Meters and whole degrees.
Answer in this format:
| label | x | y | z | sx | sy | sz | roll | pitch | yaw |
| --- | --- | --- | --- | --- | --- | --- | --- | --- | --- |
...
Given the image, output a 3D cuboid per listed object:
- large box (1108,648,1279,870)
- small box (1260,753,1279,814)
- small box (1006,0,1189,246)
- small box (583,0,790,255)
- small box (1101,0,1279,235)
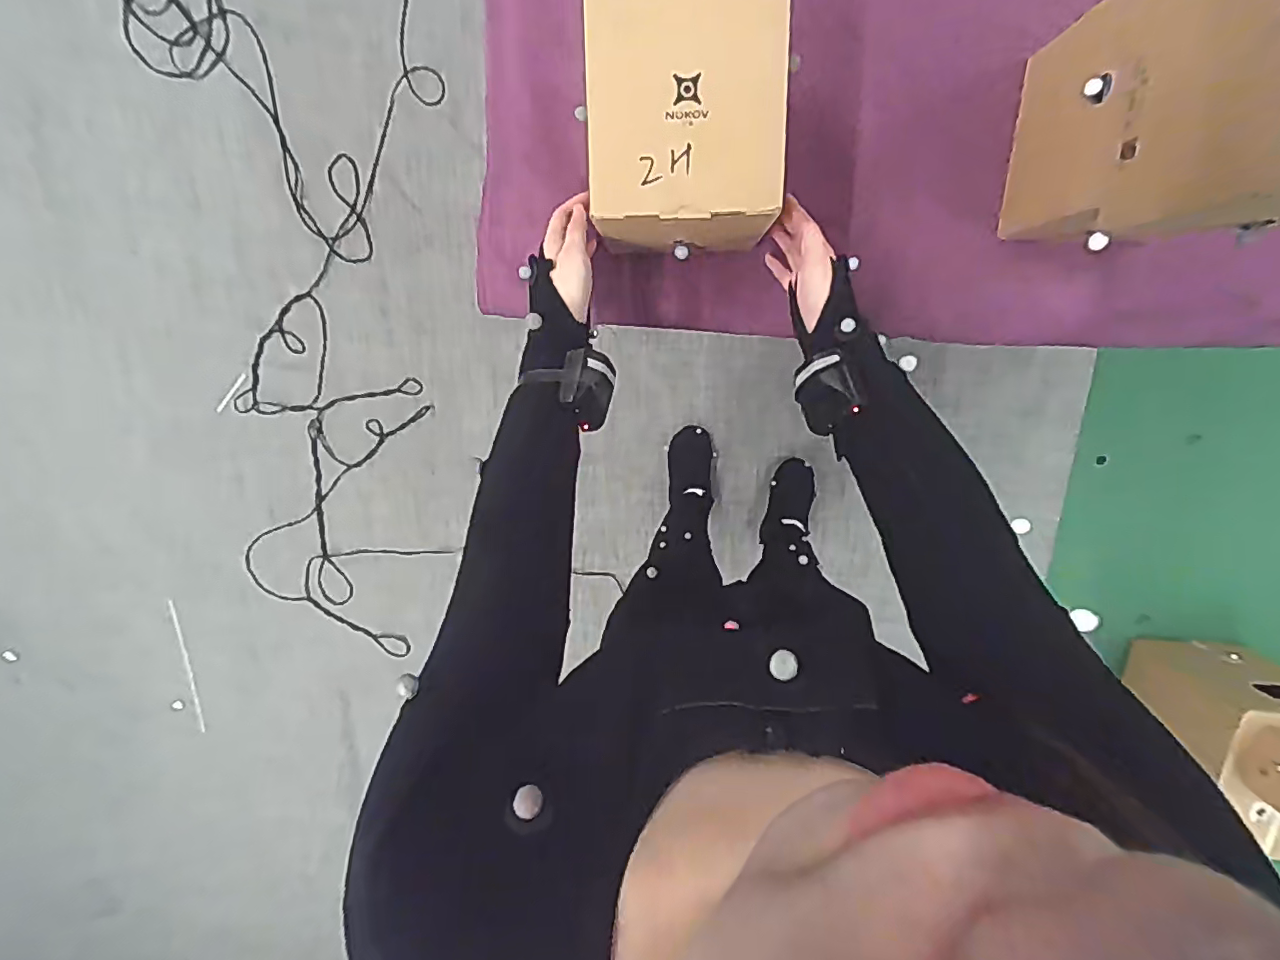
| label | x | y | z | sx | sy | sz | roll | pitch | yaw |
| --- | --- | --- | --- | --- | --- | --- | --- | --- | --- |
| large box | 1.492 | 0.681 | 1.360 | 0.320 | 0.320 | 0.408 | 3 | 105 | 3 |
| small box | 1.467 | 0.662 | 1.105 | 0.179 | 0.176 | 0.168 | 5 | 105 | 3 |
| small box | 0.474 | -0.324 | 0.491 | 0.168 | 0.176 | 0.179 | 2 | 104 | 3 |
| small box | 0.039 | -0.324 | 0.514 | 0.168 | 0.176 | 0.179 | 0 | 102 | 4 |
| small box | 0.456 | -0.258 | 0.340 | 0.179 | 0.176 | 0.168 | -1 | 104 | 4 |
